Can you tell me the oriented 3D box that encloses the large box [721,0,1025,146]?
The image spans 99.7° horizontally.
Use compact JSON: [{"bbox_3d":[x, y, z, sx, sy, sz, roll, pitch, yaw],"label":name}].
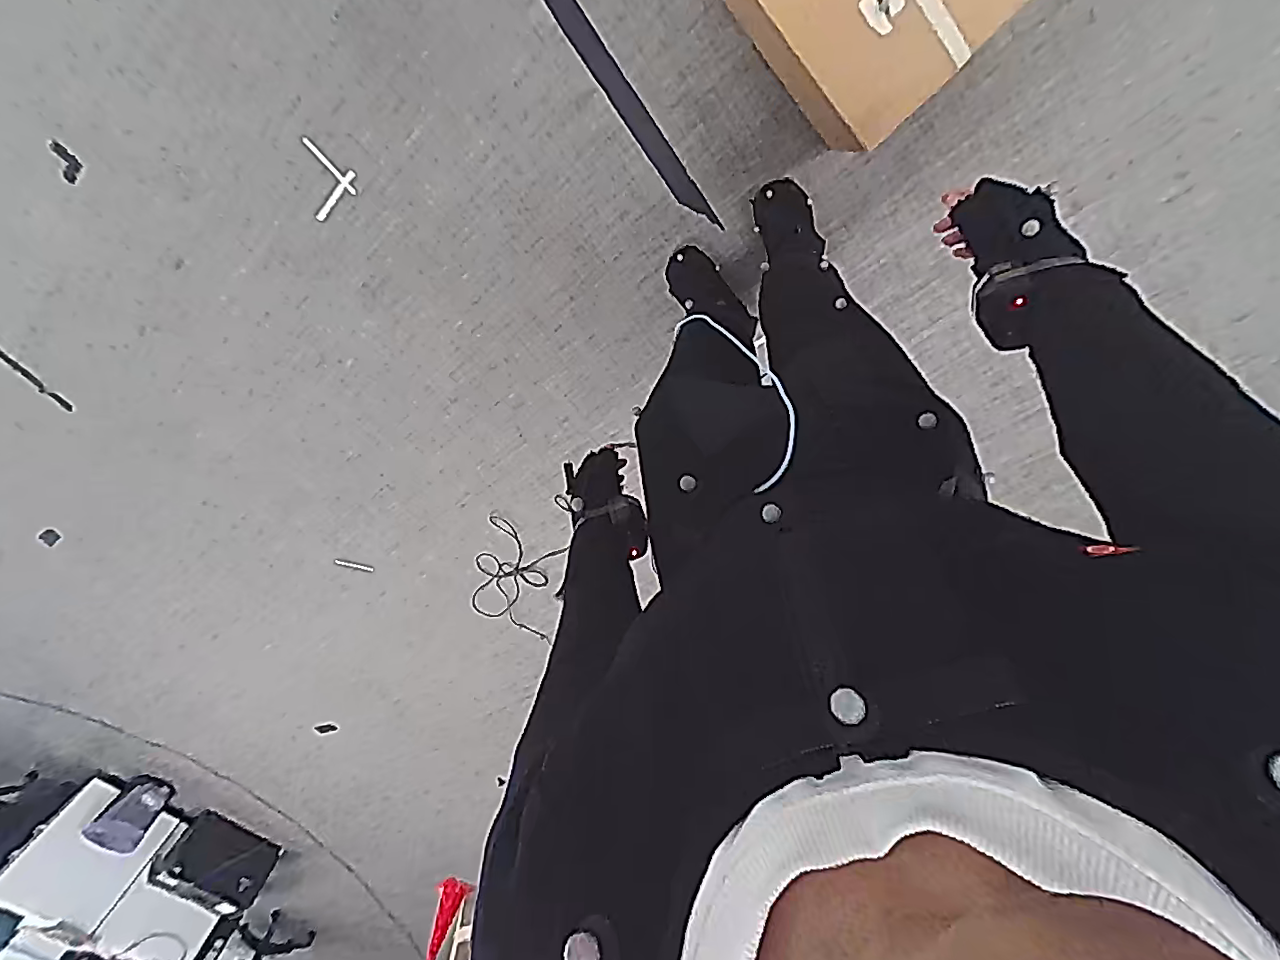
[{"bbox_3d":[0.335,-0.805,0.837,0.408,0.320,0.320,41,119,-18],"label":"large box"}]
